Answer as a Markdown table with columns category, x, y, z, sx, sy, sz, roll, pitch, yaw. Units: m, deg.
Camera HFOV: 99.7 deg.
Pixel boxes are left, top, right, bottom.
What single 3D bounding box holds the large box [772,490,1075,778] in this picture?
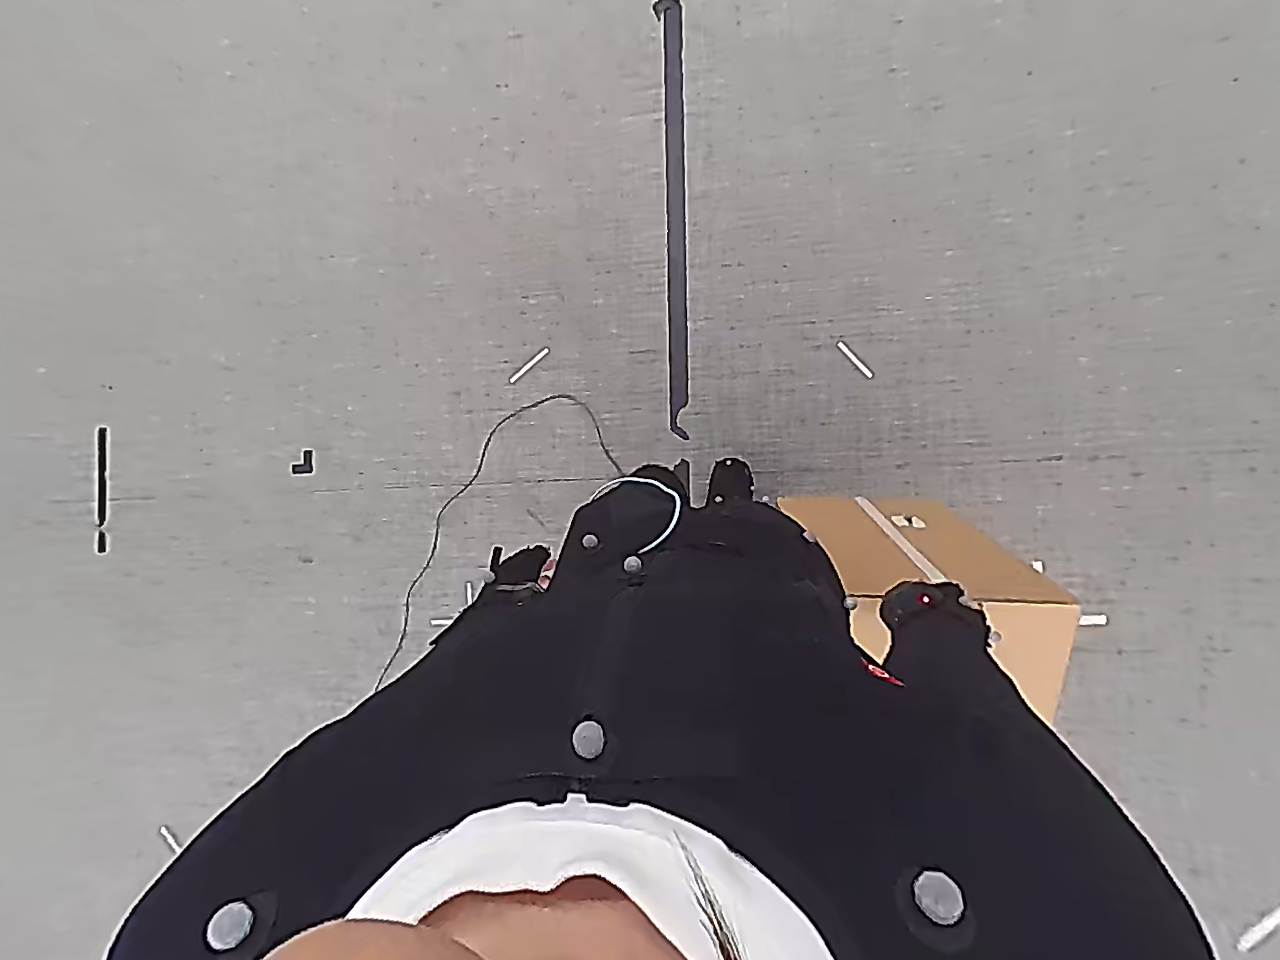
| category | x | y | z | sx | sy | sz | roll | pitch | yaw |
| --- | --- | --- | --- | --- | --- | --- | --- | --- | --- |
| large box | 0.415 | 0.226 | 0.917 | 0.320 | 0.408 | 0.320 | 1 | 106 | 4 |
